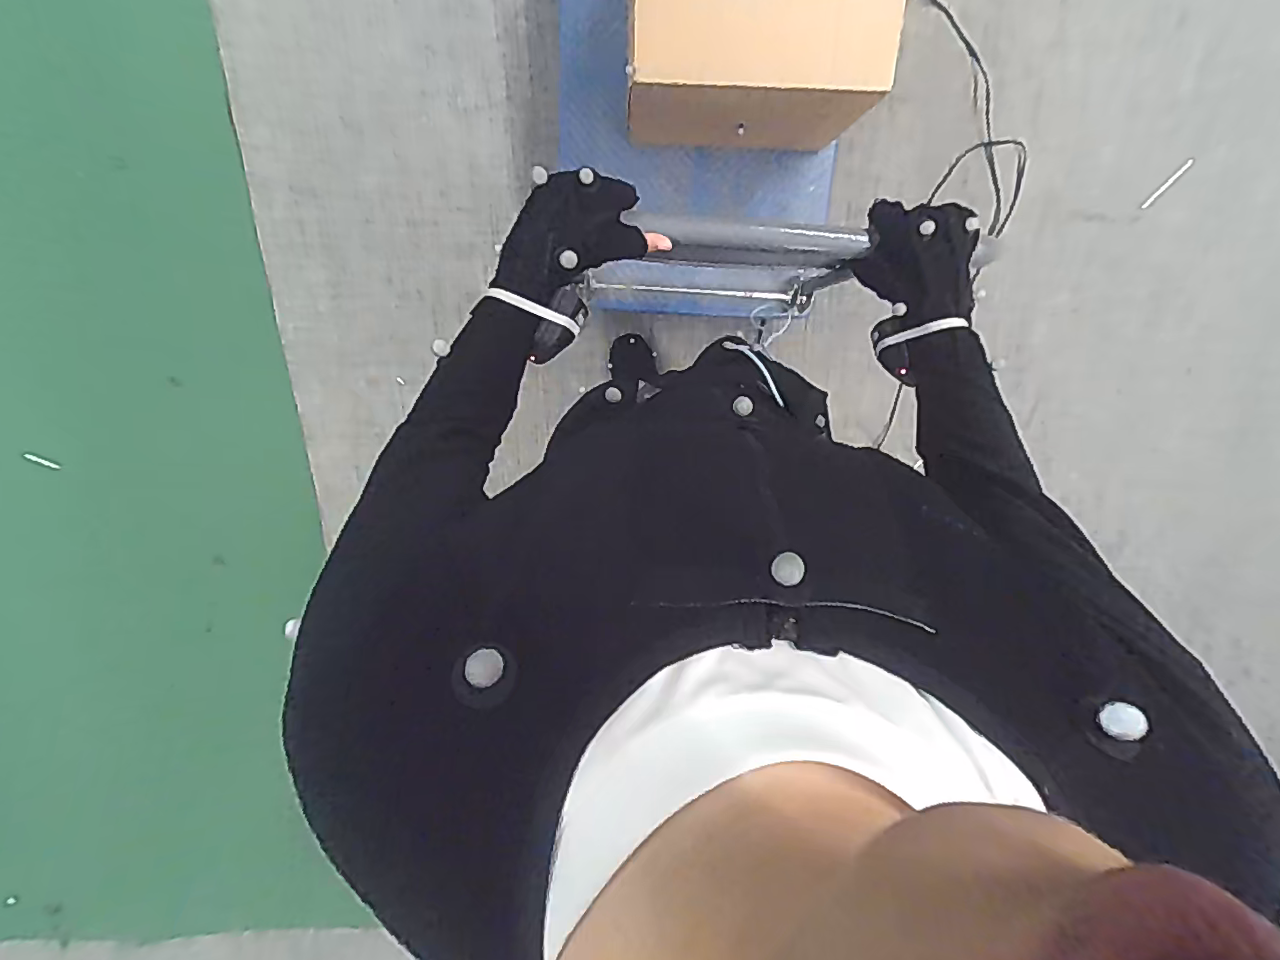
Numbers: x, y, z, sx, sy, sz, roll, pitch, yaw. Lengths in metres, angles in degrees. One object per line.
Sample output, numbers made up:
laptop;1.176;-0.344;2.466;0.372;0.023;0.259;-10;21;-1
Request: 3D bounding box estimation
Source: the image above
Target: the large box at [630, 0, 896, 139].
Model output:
large box;0.186;-0.805;0.935;0.408;0.320;0.320;0;107;-1
